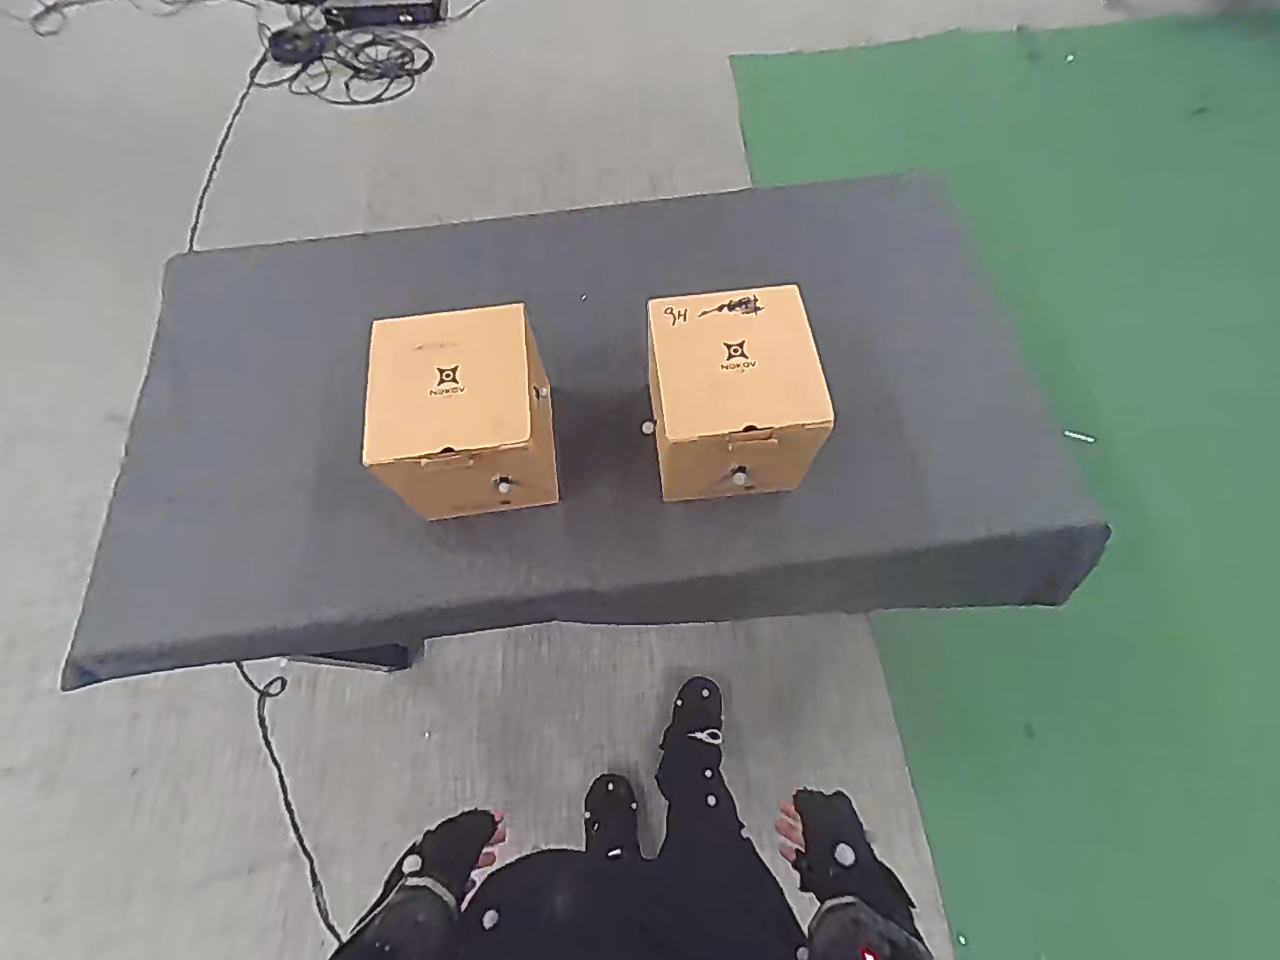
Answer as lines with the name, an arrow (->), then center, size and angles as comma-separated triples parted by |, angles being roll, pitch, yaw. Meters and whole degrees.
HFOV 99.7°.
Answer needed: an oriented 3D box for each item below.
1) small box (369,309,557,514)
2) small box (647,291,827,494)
small box -> -0.195, -0.069, 0.637 | 0.168, 0.176, 0.179 | -8, 66, -3
small box -> 0.099, -0.091, 0.635 | 0.168, 0.176, 0.179 | -6, 67, -1
